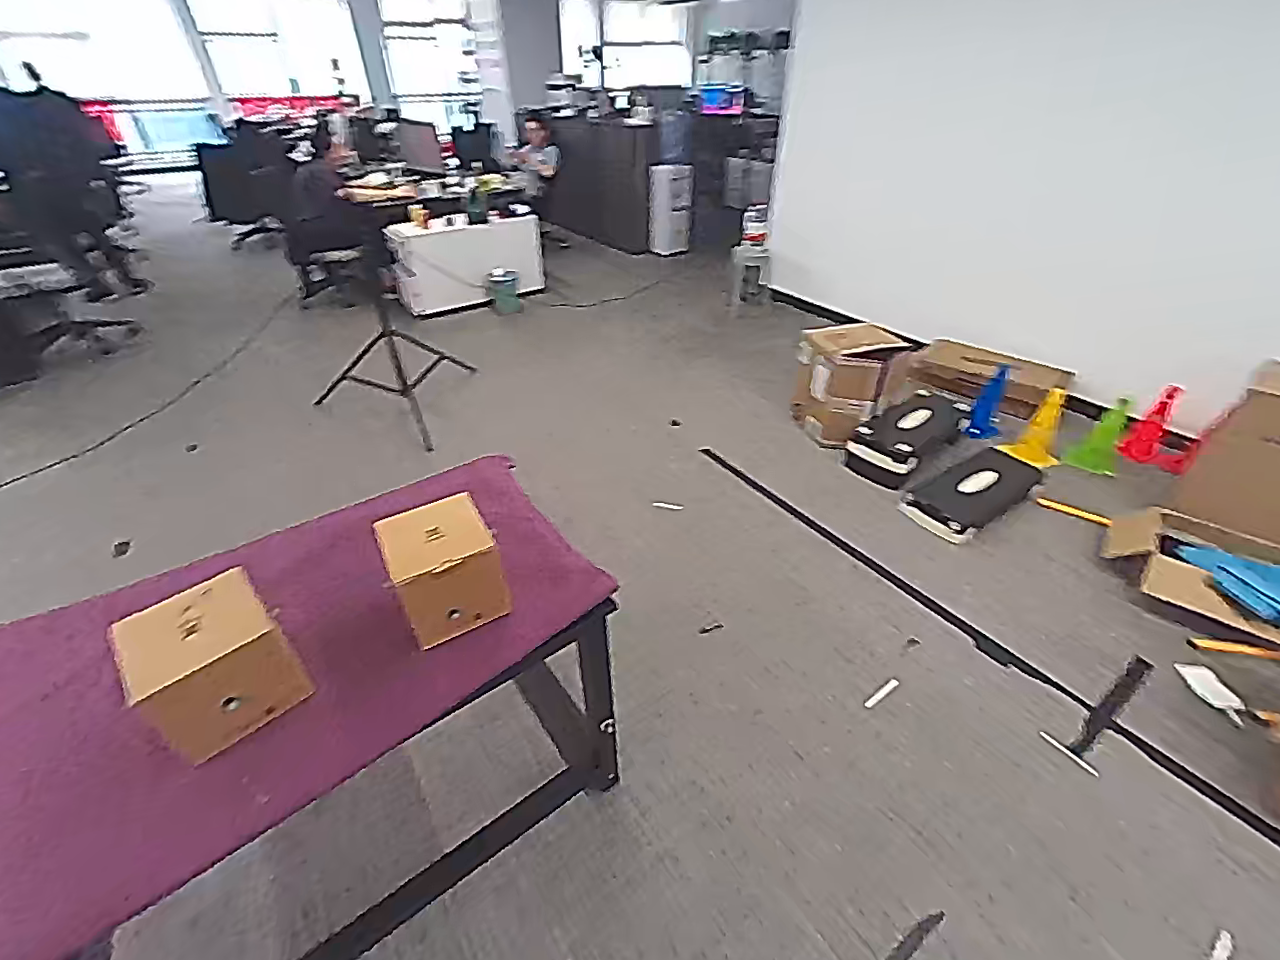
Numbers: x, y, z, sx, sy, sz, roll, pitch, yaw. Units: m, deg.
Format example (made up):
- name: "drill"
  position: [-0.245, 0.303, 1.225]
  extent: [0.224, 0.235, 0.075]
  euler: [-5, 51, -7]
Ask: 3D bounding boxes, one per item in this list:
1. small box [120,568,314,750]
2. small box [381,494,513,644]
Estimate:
- name: "small box"
  position: [-0.633, 0.275, 0.823]
  extent: [0.168, 0.176, 0.179]
  euler: [-31, 46, -34]
- name: "small box"
  position: [-0.345, 0.158, 0.974]
  extent: [0.168, 0.176, 0.179]
  euler: [-21, 41, -24]
